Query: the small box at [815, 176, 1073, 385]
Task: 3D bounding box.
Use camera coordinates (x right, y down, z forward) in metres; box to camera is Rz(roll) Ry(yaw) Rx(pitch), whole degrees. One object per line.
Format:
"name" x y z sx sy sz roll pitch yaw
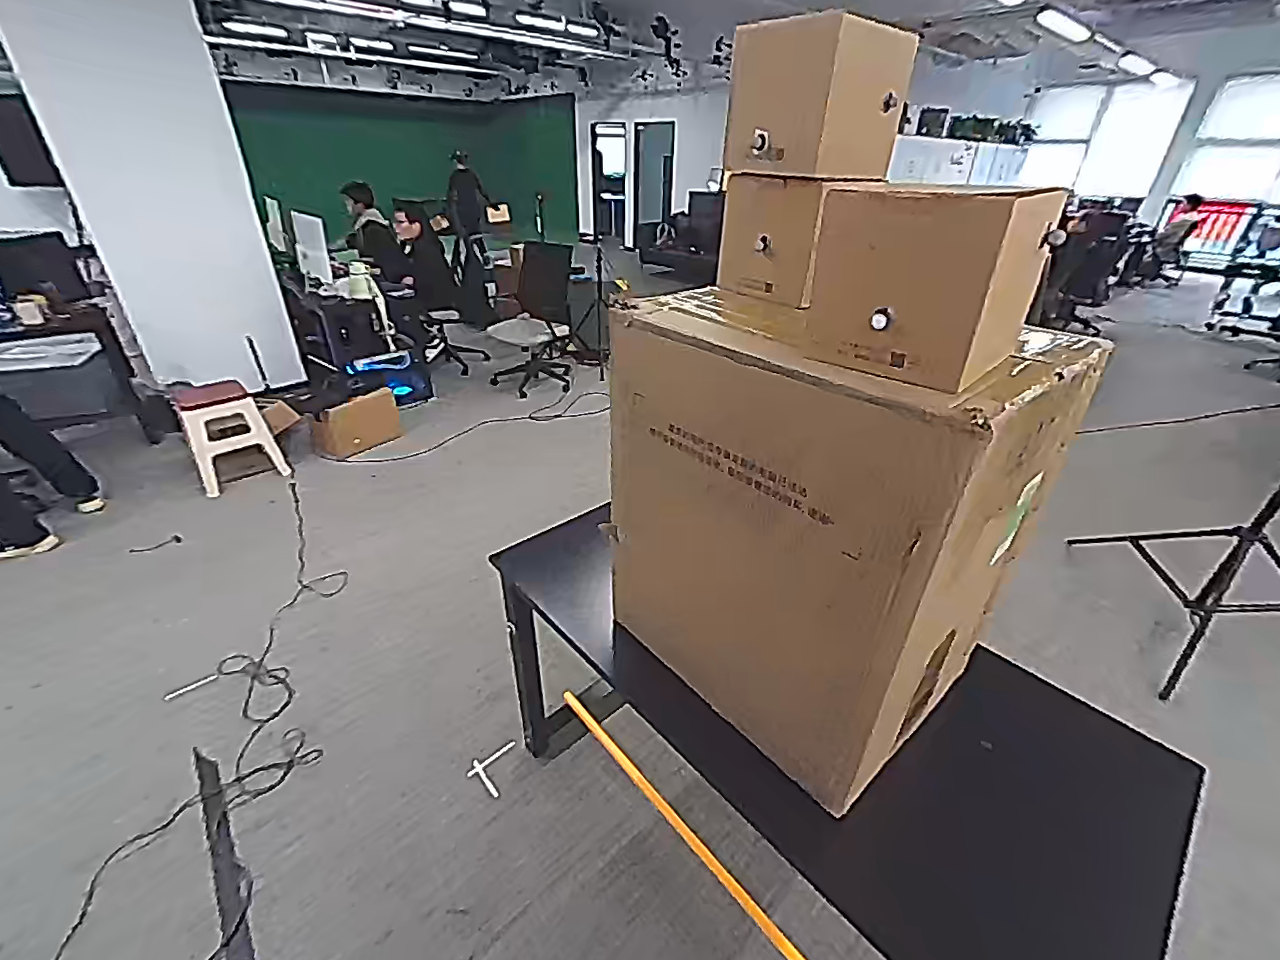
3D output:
"small box" 0.300 -0.213 0.557 0.179 0.176 0.168 -27 39 -37

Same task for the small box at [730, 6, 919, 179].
"small box" 0.239 -0.510 0.736 0.179 0.176 0.168 -22 38 -34

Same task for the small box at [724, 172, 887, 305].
"small box" 0.244 -0.376 0.831 0.179 0.176 0.168 -23 40 -35
